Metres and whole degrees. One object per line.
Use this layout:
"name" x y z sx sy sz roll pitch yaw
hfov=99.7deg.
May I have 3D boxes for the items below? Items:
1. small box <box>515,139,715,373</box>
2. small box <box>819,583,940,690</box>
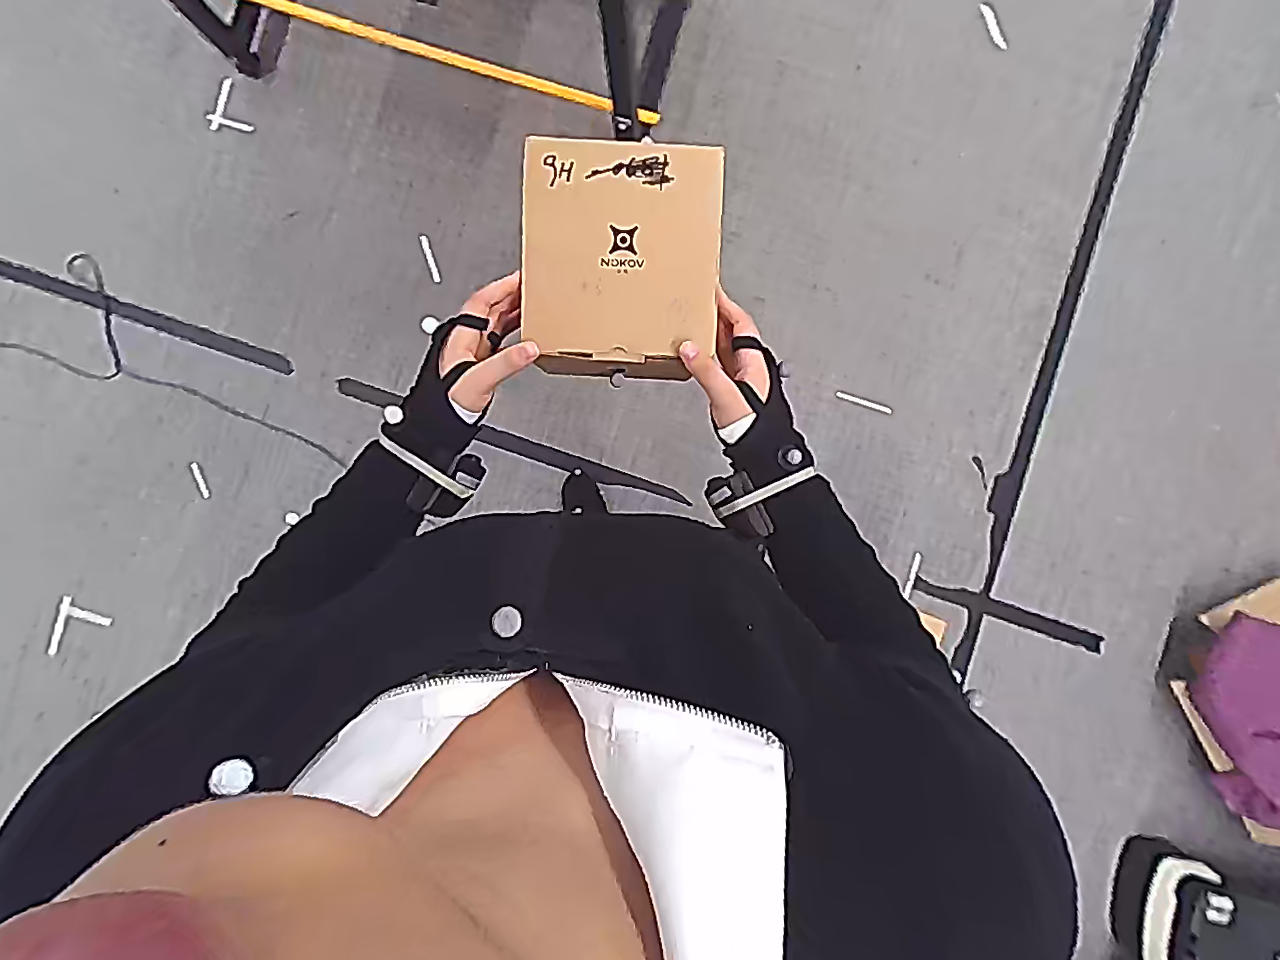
"small box" -0.025 -0.200 0.535 0.168 0.176 0.179 2 96 -2
"small box" 0.539 0.348 1.241 0.179 0.176 0.168 19 90 3
